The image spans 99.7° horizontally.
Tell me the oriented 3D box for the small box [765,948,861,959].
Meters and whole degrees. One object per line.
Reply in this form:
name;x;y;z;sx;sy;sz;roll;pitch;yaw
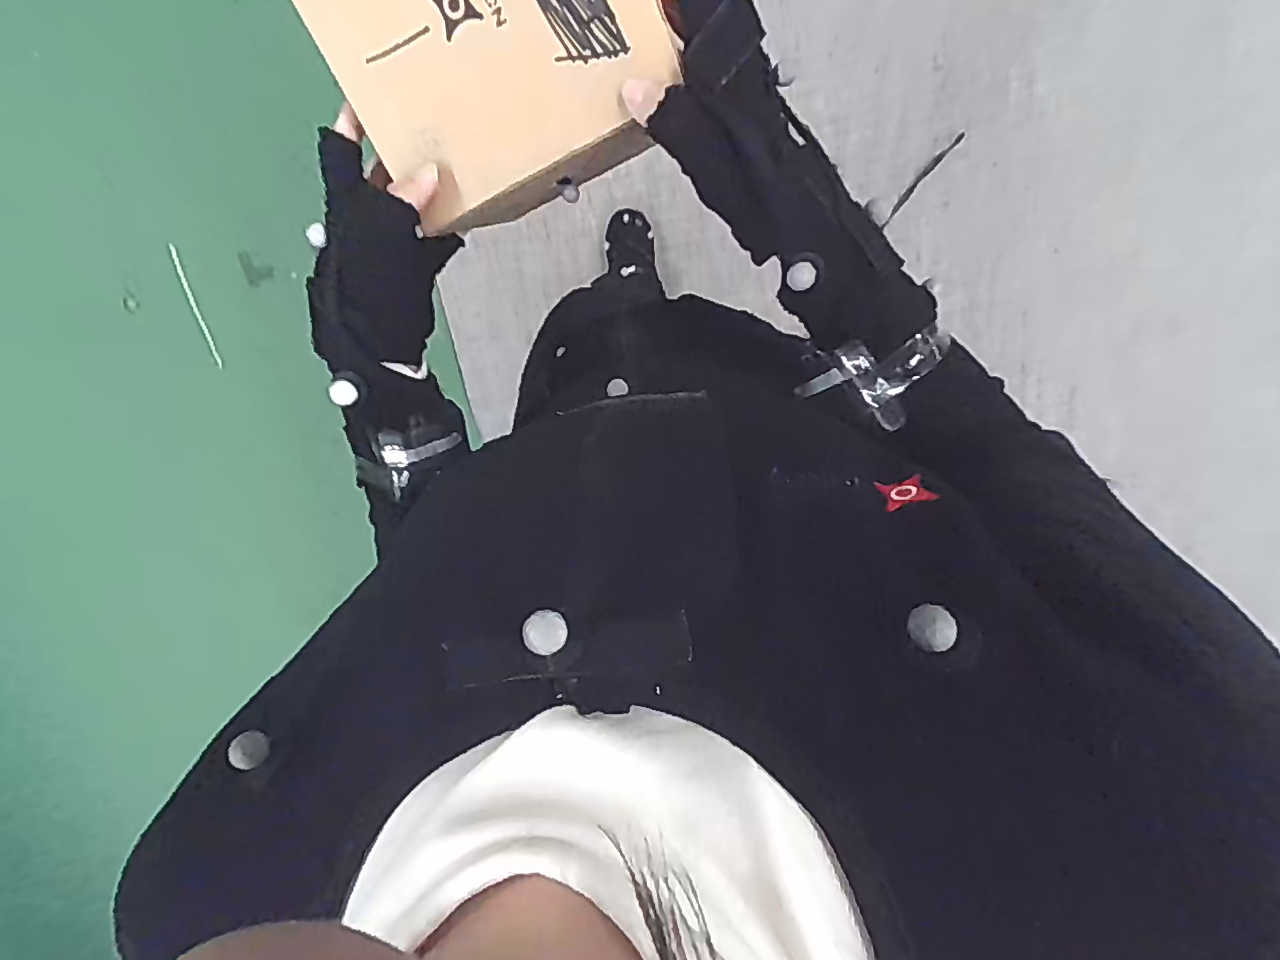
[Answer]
small box;0.296;0.908;0.880;0.179;0.176;0.168;-10;110;8

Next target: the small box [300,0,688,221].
small box;-0.077;-0.286;0.342;0.179;0.176;0.168;-18;114;17
